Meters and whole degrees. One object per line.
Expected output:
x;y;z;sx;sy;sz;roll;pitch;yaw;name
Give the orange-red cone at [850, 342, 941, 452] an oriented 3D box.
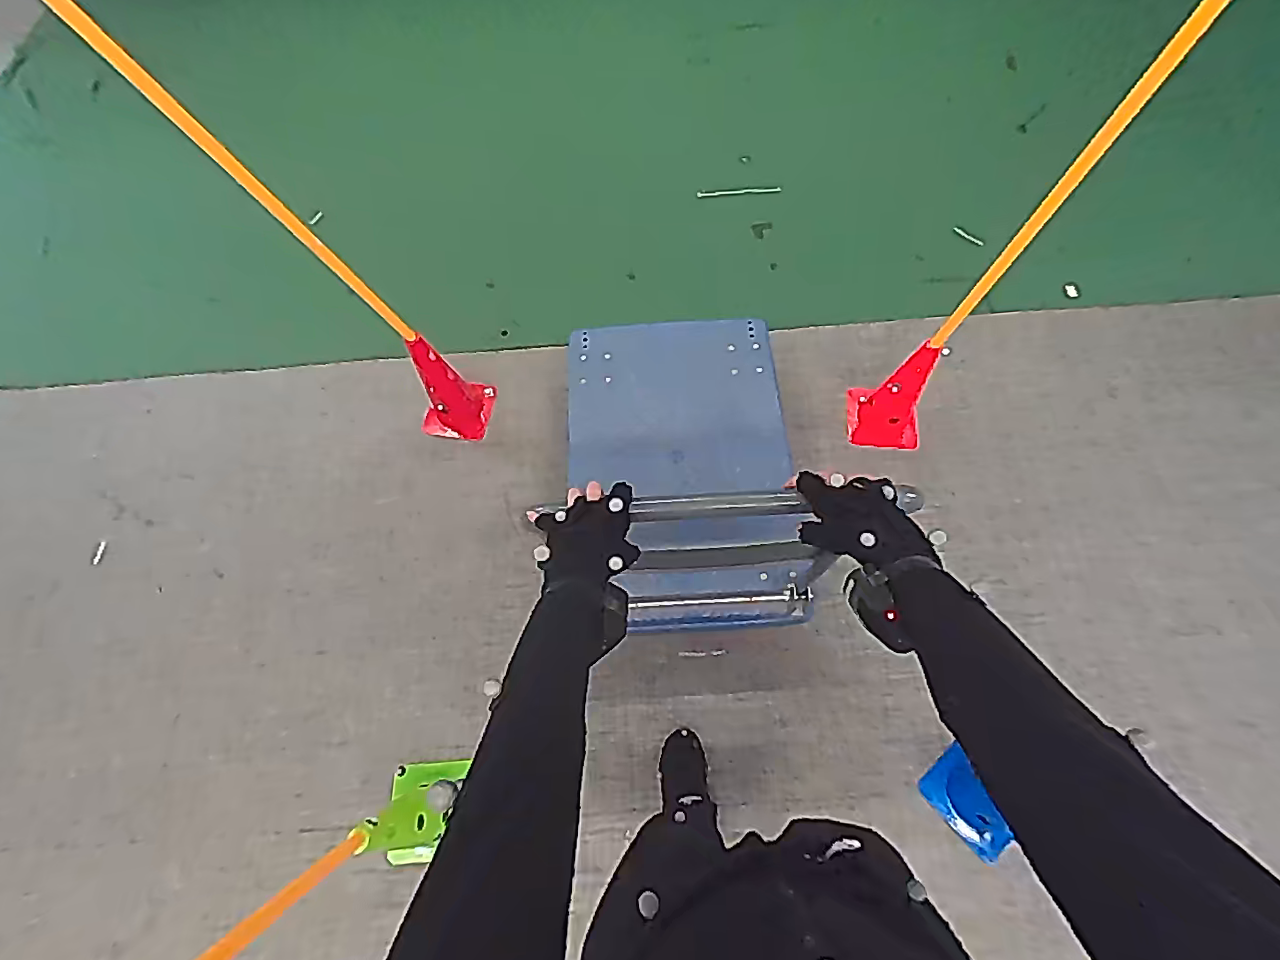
0.721;-0.247;1.465;0.198;0.360;0.199;6;67;6;orange-red cone
